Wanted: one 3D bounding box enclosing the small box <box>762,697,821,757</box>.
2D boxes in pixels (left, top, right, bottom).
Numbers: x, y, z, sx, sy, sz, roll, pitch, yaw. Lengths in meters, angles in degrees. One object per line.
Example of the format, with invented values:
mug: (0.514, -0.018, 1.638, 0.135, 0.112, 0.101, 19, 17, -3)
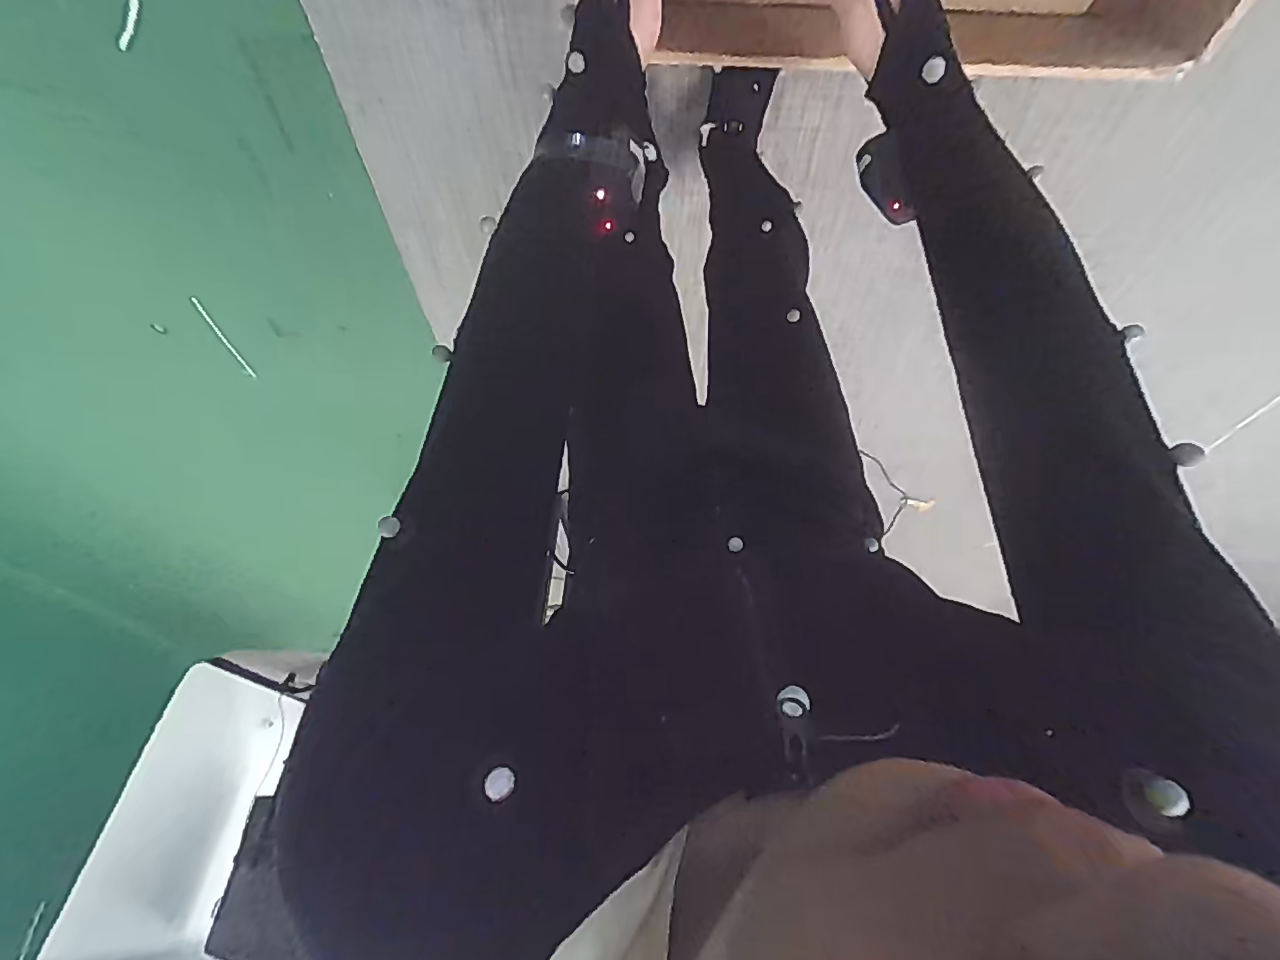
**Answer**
small box: (0.538, 0.890, 1.945, 0.168, 0.176, 0.179, 1, 146, 1)
